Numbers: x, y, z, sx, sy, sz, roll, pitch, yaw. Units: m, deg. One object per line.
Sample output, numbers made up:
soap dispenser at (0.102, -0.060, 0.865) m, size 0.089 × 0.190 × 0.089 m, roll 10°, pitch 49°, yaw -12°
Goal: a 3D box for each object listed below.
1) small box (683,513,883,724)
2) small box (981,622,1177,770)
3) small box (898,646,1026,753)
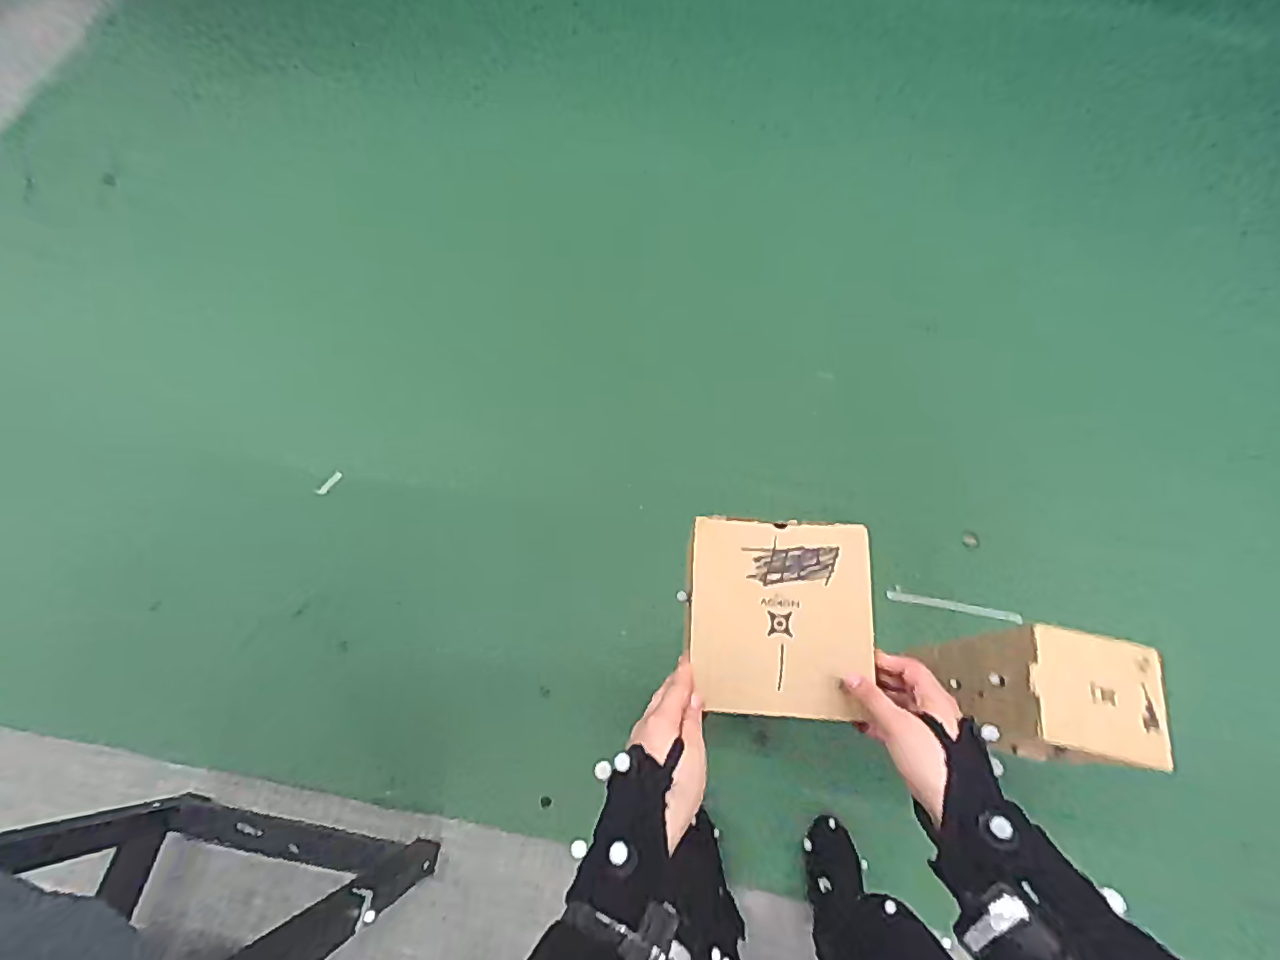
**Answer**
small box at (0.131, 0.140, 0.558) m, size 0.168 × 0.176 × 0.179 m, roll 2°, pitch 75°, yaw 3°
small box at (0.663, 0.334, 0.843) m, size 0.179 × 0.176 × 0.168 m, roll 12°, pitch 68°, yaw 7°
small box at (0.679, 0.459, 1.145) m, size 0.179 × 0.176 × 0.168 m, roll 14°, pitch 70°, yaw 6°
